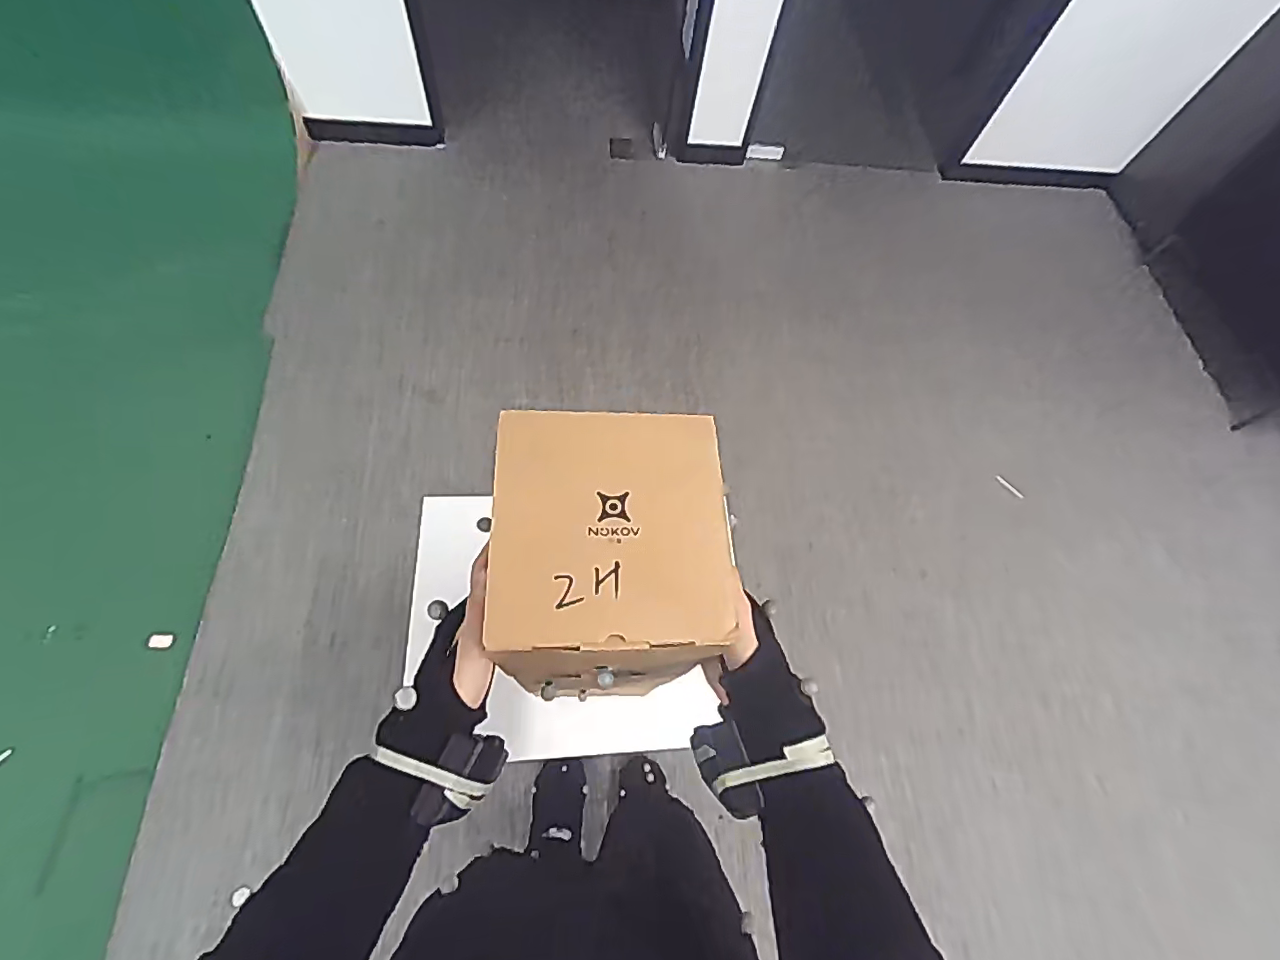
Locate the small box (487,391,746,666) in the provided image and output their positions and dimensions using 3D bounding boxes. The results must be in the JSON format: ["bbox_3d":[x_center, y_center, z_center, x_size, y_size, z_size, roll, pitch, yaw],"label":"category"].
[{"bbox_3d":[-0.025,0.049,0.443,0.168,0.176,0.179,1,64,-7],"label":"small box"}]

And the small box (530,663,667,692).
[{"bbox_3d":[-0.060,0.188,0.740,0.168,0.176,0.179,2,64,-7],"label":"small box"}]
